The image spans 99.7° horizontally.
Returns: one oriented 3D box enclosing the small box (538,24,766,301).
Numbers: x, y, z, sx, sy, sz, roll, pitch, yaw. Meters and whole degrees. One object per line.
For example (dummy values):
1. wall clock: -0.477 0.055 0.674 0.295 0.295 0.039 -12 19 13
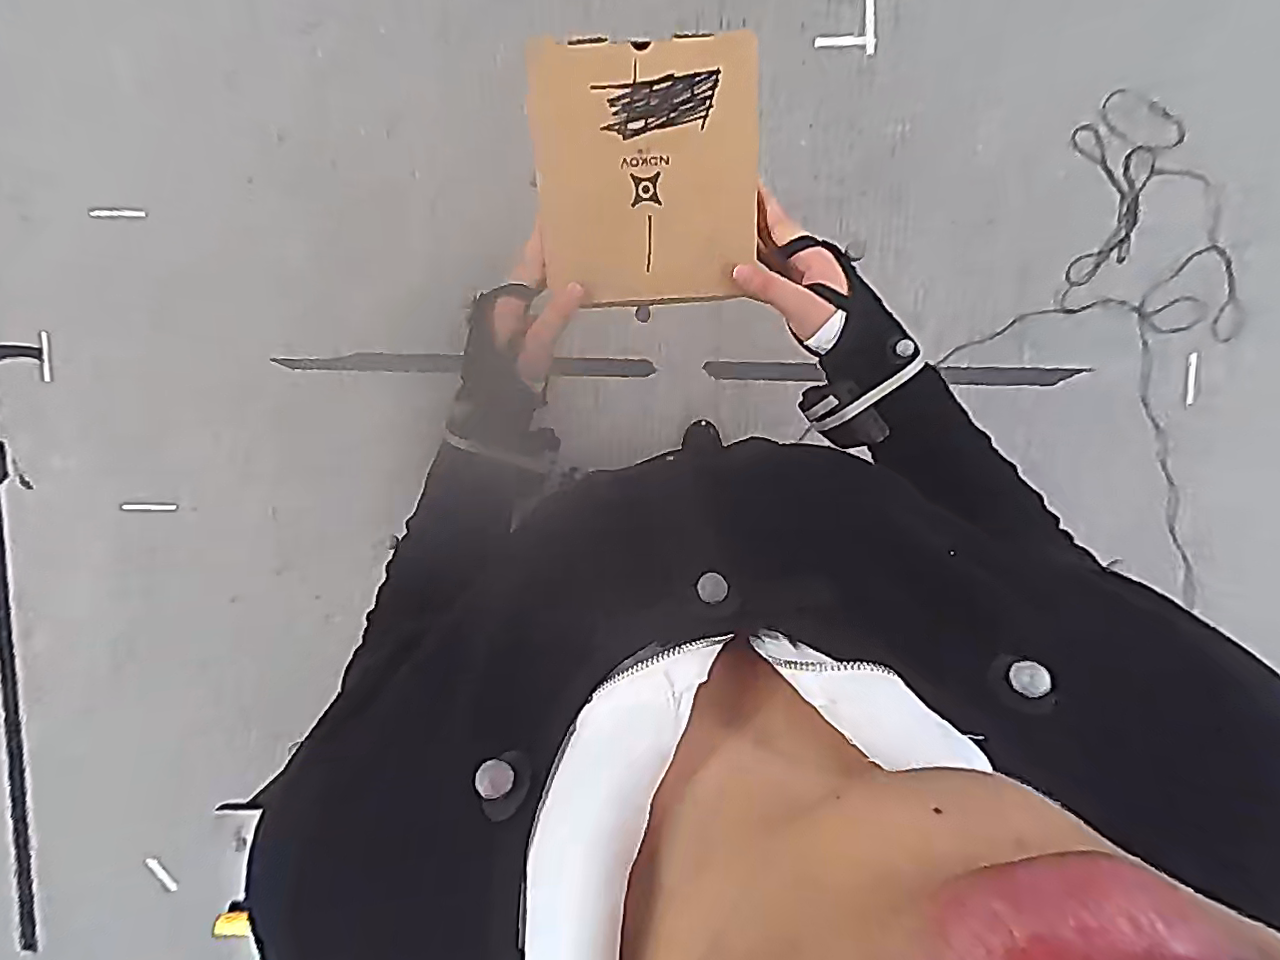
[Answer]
1. small box: 0.010 -0.256 0.479 0.168 0.176 0.179 -3 107 1
